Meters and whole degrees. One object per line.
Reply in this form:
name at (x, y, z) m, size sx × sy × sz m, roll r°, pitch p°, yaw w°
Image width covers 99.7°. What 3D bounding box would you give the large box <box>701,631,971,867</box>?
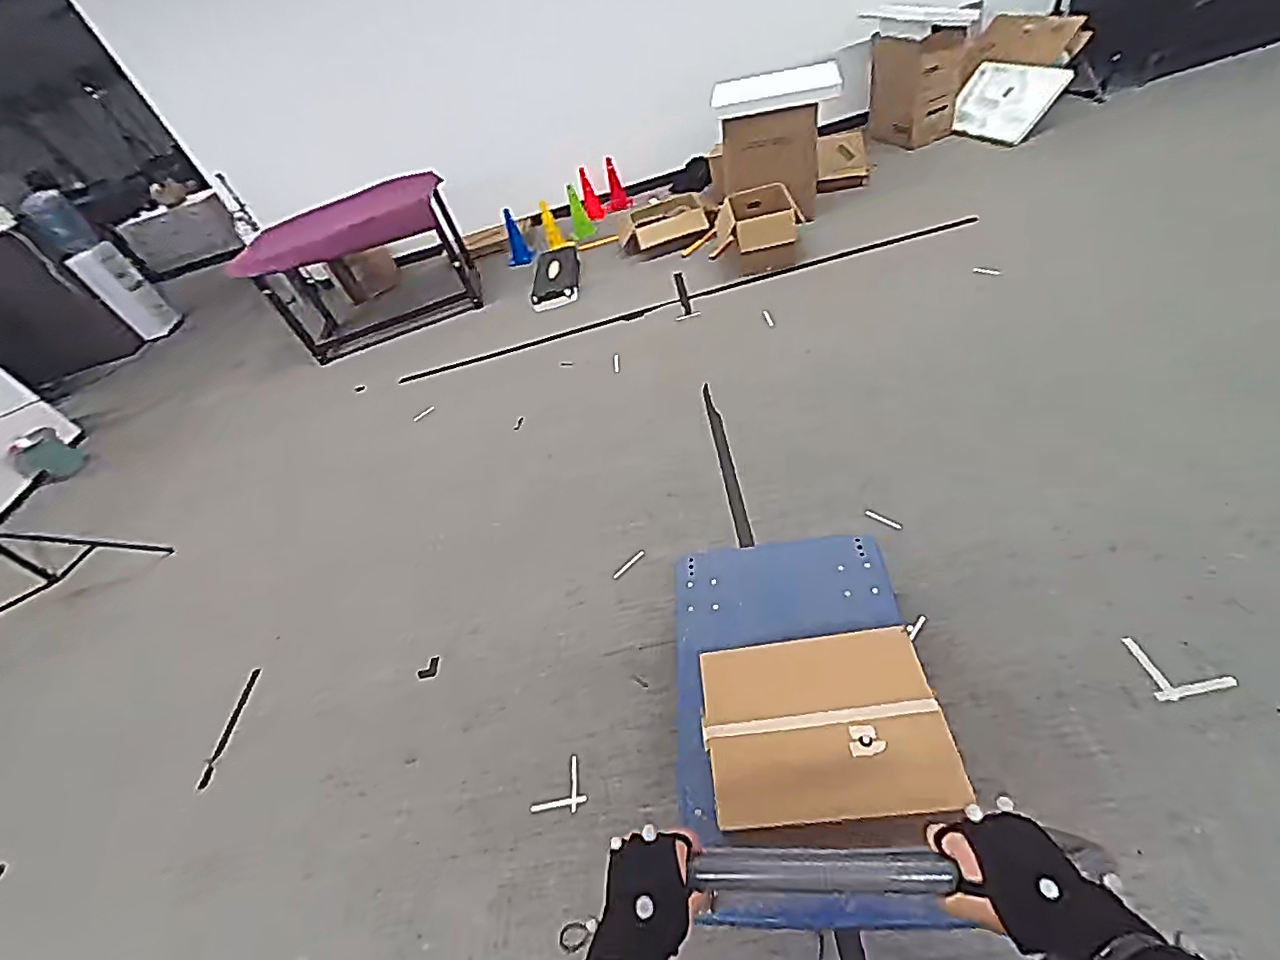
large box at (0.355, 0.543, 1.079) m, size 0.408 × 0.320 × 0.320 m, roll -11°, pitch 45°, yaw 8°
